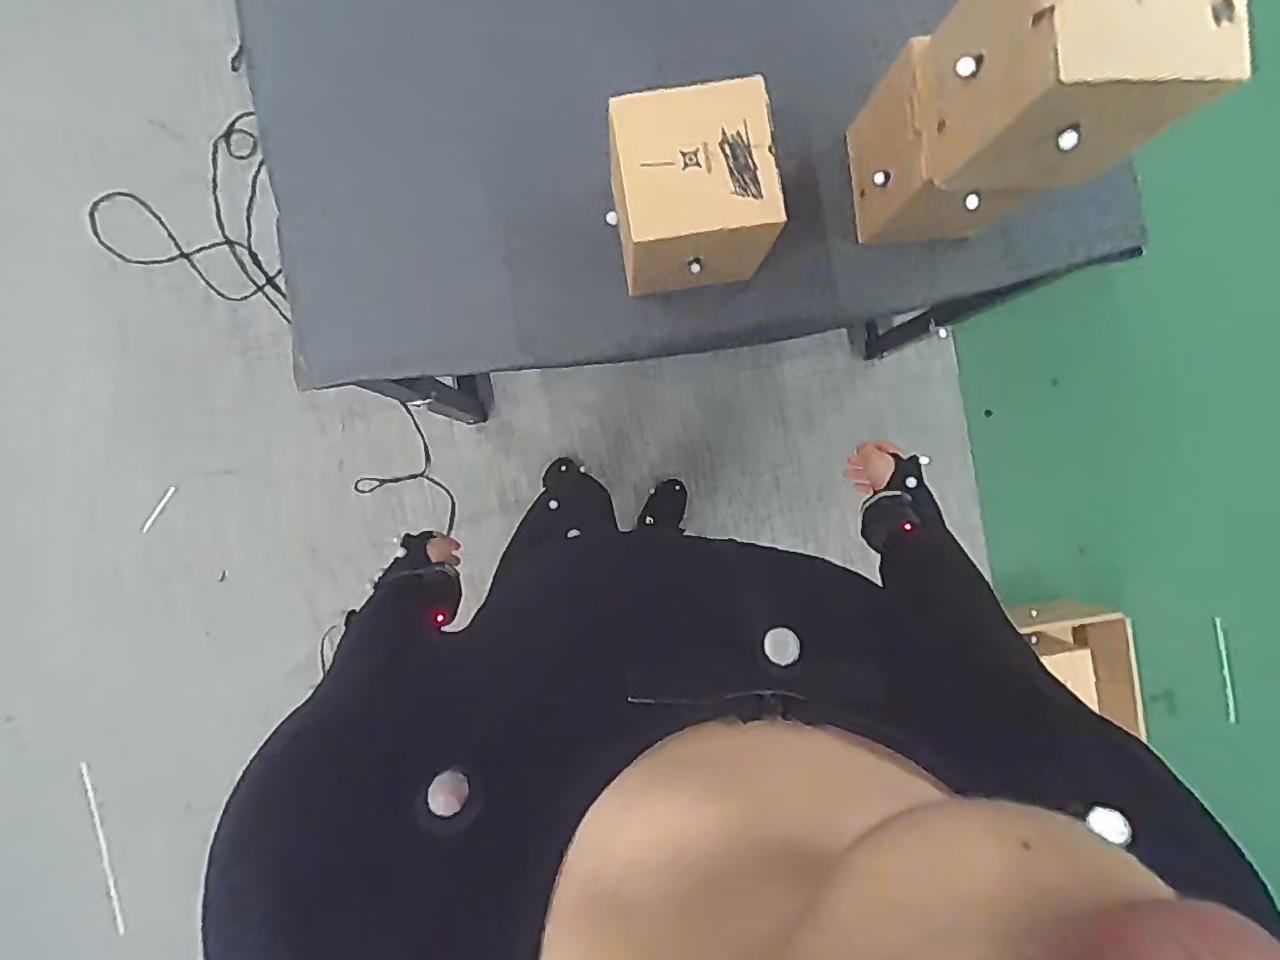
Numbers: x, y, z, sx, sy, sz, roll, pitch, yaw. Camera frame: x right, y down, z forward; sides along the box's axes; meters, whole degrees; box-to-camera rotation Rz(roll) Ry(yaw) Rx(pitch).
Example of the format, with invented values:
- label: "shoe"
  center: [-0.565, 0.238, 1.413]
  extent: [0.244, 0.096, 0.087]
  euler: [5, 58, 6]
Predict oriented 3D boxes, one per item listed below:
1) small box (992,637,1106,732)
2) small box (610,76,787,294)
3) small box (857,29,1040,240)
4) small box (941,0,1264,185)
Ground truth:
- label: "small box"
  center: [1.043, 0.515, 1.393]
  extent: [0.168, 0.176, 0.179]
  euler: [-8, 92, -1]
- label: "small box"
  center: [0.062, -0.345, 0.664]
  extent: [0.179, 0.176, 0.168]
  euler: [-9, 89, -1]
- label: "small box"
  center: [0.392, -0.421, 0.681]
  extent: [0.179, 0.176, 0.168]
  euler: [-6, 91, -4]
- label: "small box"
  center: [0.414, -0.406, 0.518]
  extent: [0.179, 0.176, 0.168]
  euler: [-3, 90, -2]
